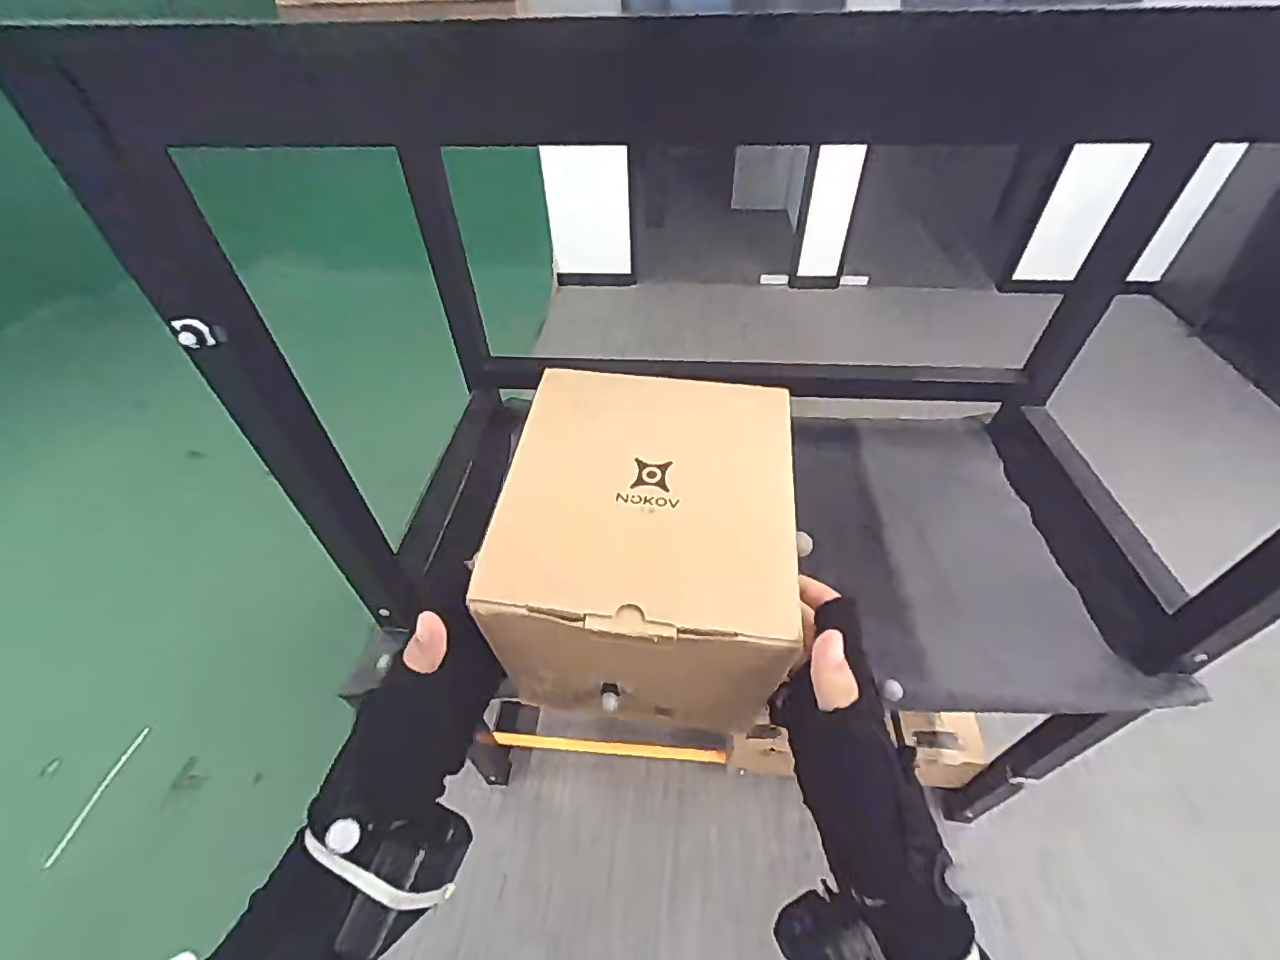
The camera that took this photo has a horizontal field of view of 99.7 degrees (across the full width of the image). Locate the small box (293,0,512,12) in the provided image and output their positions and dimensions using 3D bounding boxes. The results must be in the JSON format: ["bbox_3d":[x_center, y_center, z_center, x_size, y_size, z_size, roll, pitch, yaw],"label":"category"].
[{"bbox_3d":[-0.181,-0.452,0.385,0.168,0.176,0.179,-7,46,-4],"label":"small box"}]
